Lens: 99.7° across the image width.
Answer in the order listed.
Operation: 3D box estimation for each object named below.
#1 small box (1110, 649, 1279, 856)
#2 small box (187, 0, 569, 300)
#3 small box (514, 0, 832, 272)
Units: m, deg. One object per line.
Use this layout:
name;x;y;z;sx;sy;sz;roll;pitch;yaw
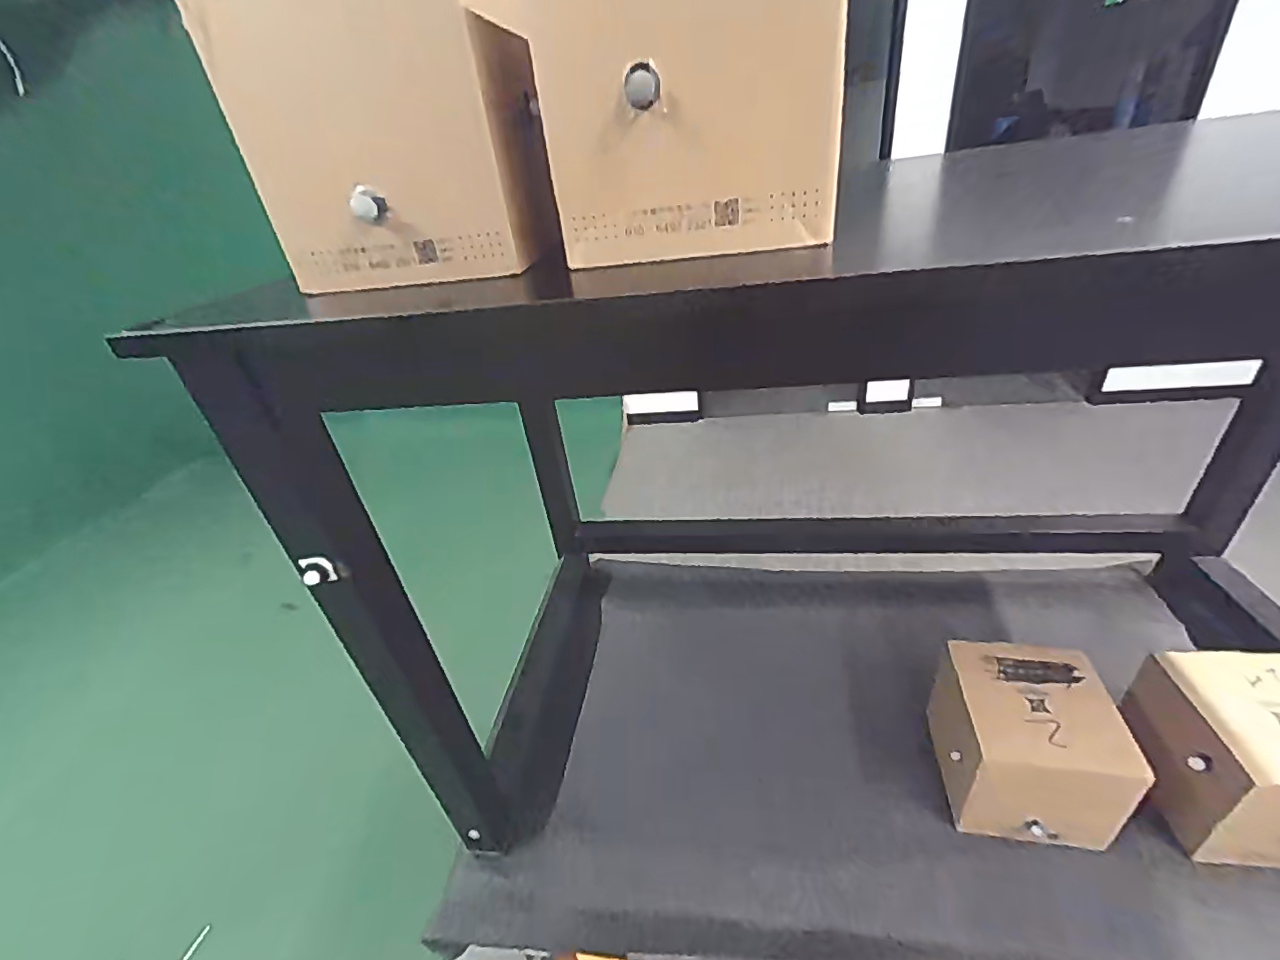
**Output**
small box;0.734;0.332;0.659;0.168;0.176;0.179;-2;32;10
small box;-0.158;-0.243;0.403;0.168;0.176;0.179;-2;34;10
small box;0.035;-0.246;0.369;0.168;0.176;0.179;-2;32;11
